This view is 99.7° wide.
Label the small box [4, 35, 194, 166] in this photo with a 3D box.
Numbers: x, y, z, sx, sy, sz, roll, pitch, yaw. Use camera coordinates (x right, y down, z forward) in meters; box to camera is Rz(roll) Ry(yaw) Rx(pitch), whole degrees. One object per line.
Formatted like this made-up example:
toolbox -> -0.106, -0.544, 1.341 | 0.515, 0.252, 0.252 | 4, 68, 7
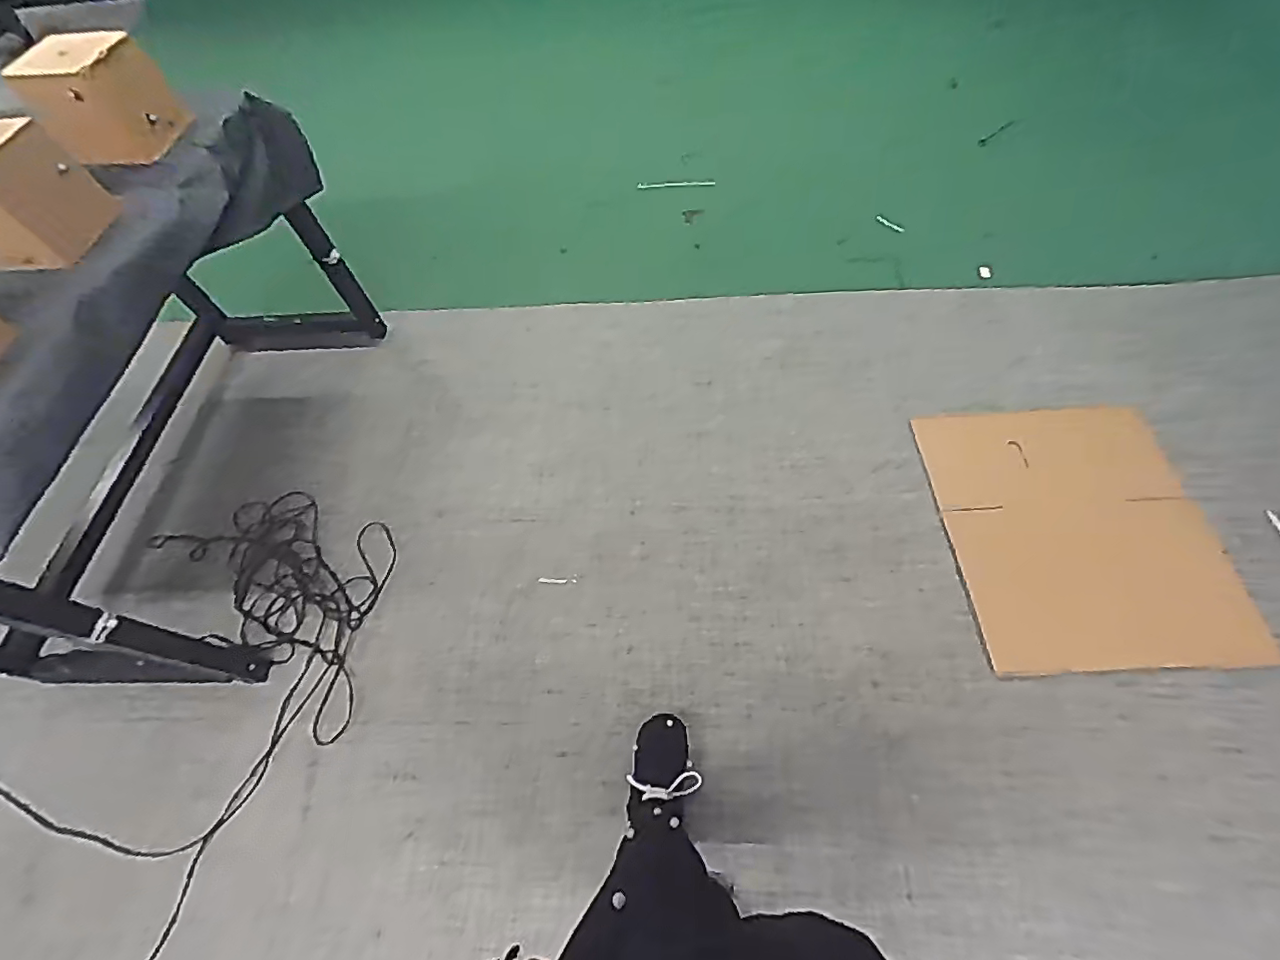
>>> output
small box -> -1.084, -0.767, 1.101 | 0.179, 0.176, 0.168 | 2, 61, 6
